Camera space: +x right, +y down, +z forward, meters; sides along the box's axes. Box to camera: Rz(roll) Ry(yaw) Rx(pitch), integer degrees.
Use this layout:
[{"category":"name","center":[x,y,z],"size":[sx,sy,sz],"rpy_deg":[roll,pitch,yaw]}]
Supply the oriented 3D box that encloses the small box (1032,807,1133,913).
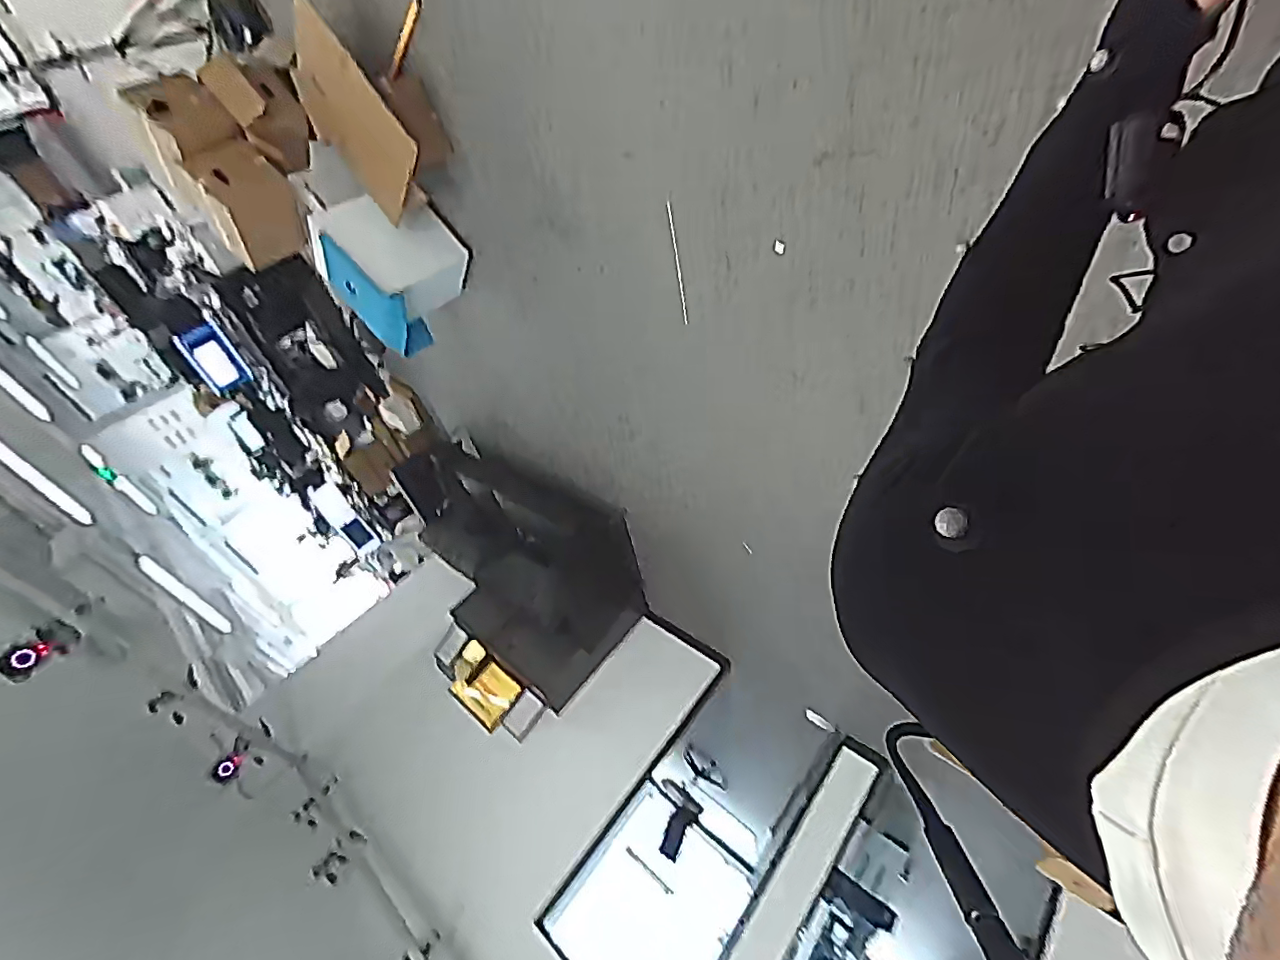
[{"category":"small box","center":[1.268,1.085,1.550],"size":[0.168,0.176,0.179],"rpy_deg":[25,144,33]}]
